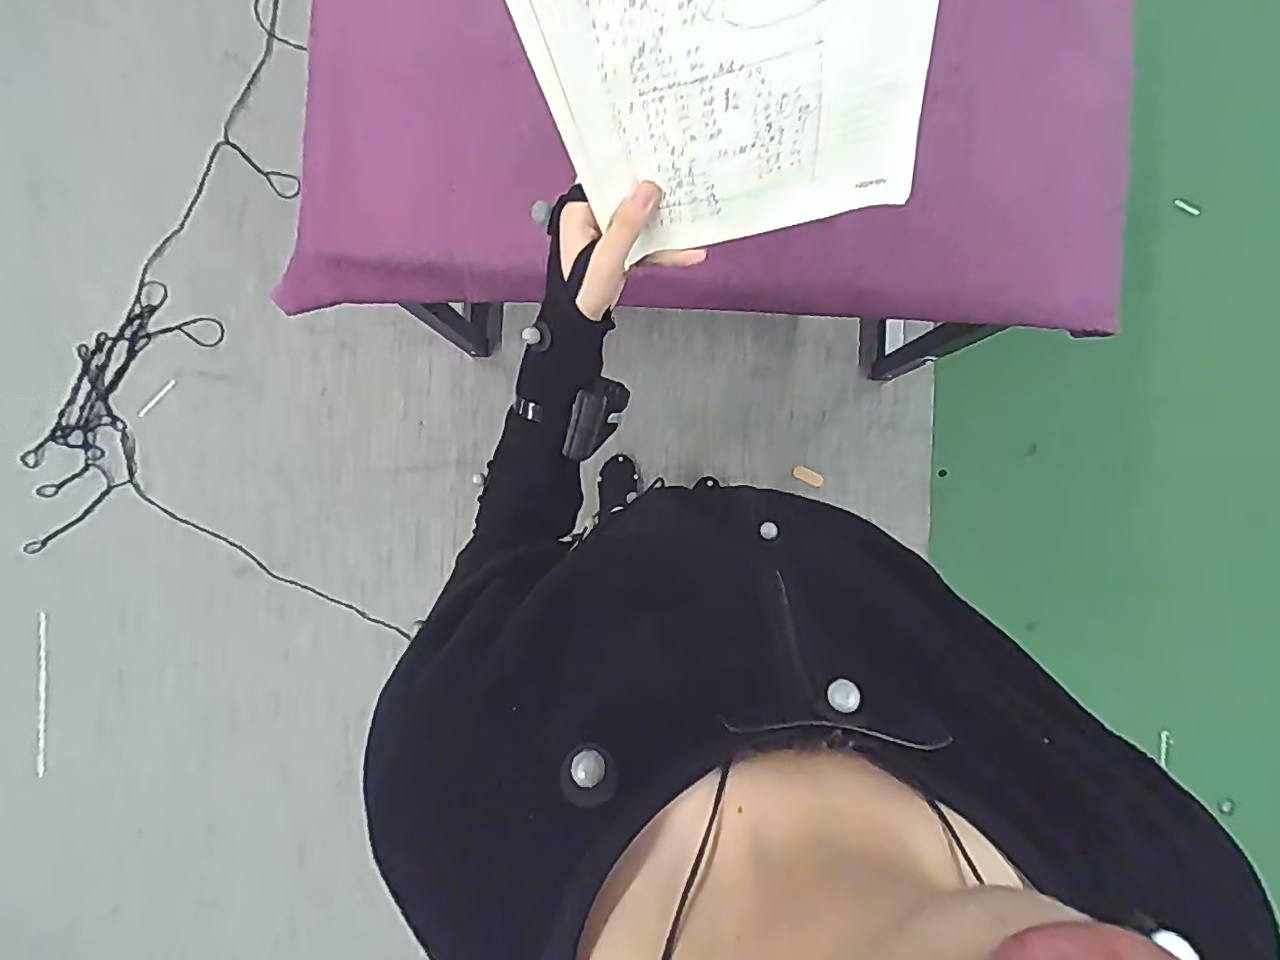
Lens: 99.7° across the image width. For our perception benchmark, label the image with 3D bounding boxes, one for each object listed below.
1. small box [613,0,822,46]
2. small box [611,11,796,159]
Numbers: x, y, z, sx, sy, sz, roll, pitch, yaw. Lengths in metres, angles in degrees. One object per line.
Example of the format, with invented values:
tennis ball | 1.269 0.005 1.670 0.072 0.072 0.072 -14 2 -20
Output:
small box | 0.070 -0.463 0.393 0.179 0.176 0.168 6 87 2
small box | 0.065 -0.464 0.558 0.168 0.176 0.179 4 87 1
